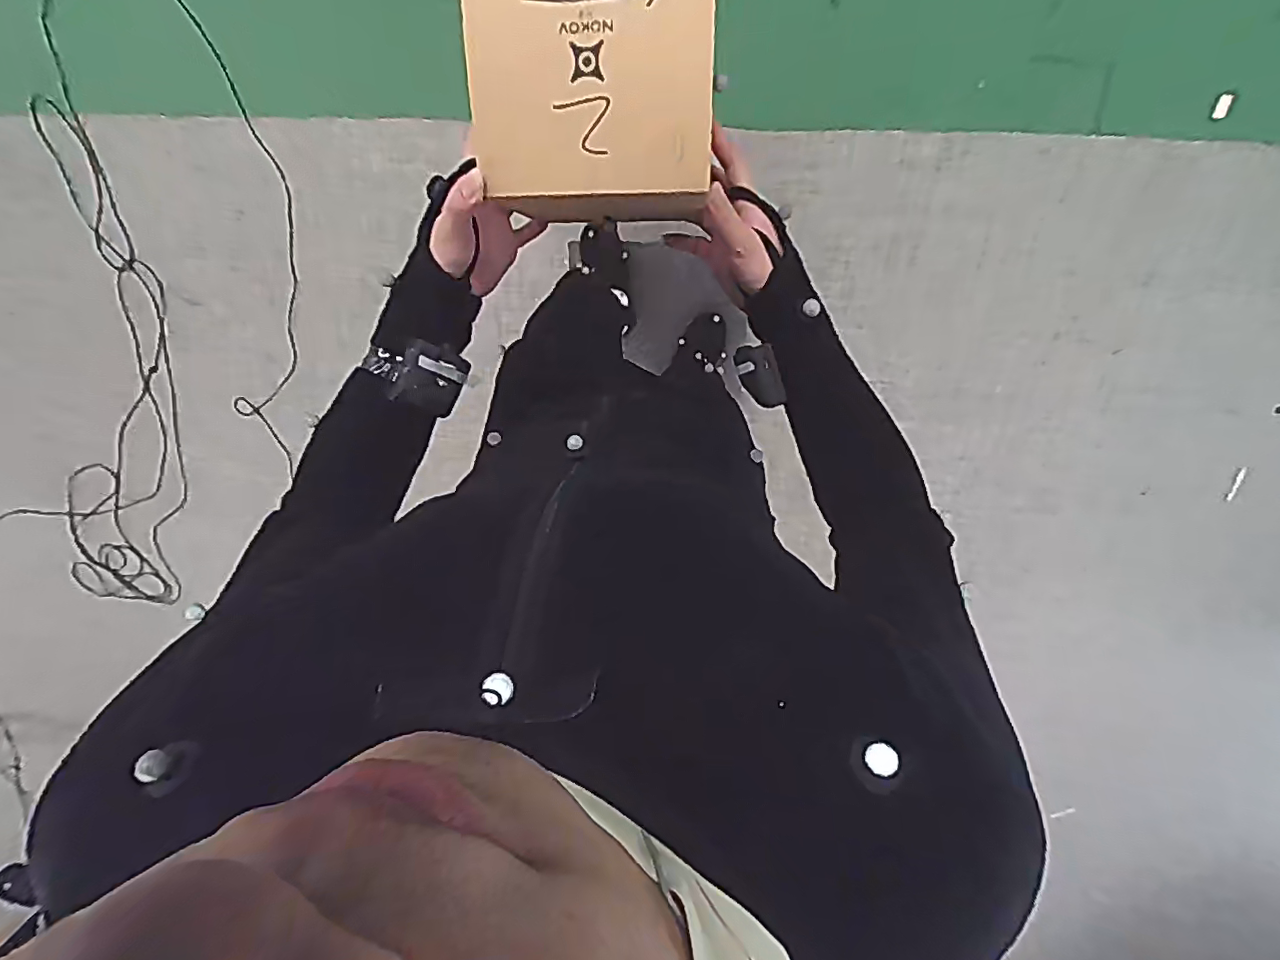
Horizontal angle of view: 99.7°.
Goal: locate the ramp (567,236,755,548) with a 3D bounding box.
[{"bbox_3d":[0.053,-0.199,1.644,0.509,0.206,0.991,2,112,5],"label":"ramp"}]
